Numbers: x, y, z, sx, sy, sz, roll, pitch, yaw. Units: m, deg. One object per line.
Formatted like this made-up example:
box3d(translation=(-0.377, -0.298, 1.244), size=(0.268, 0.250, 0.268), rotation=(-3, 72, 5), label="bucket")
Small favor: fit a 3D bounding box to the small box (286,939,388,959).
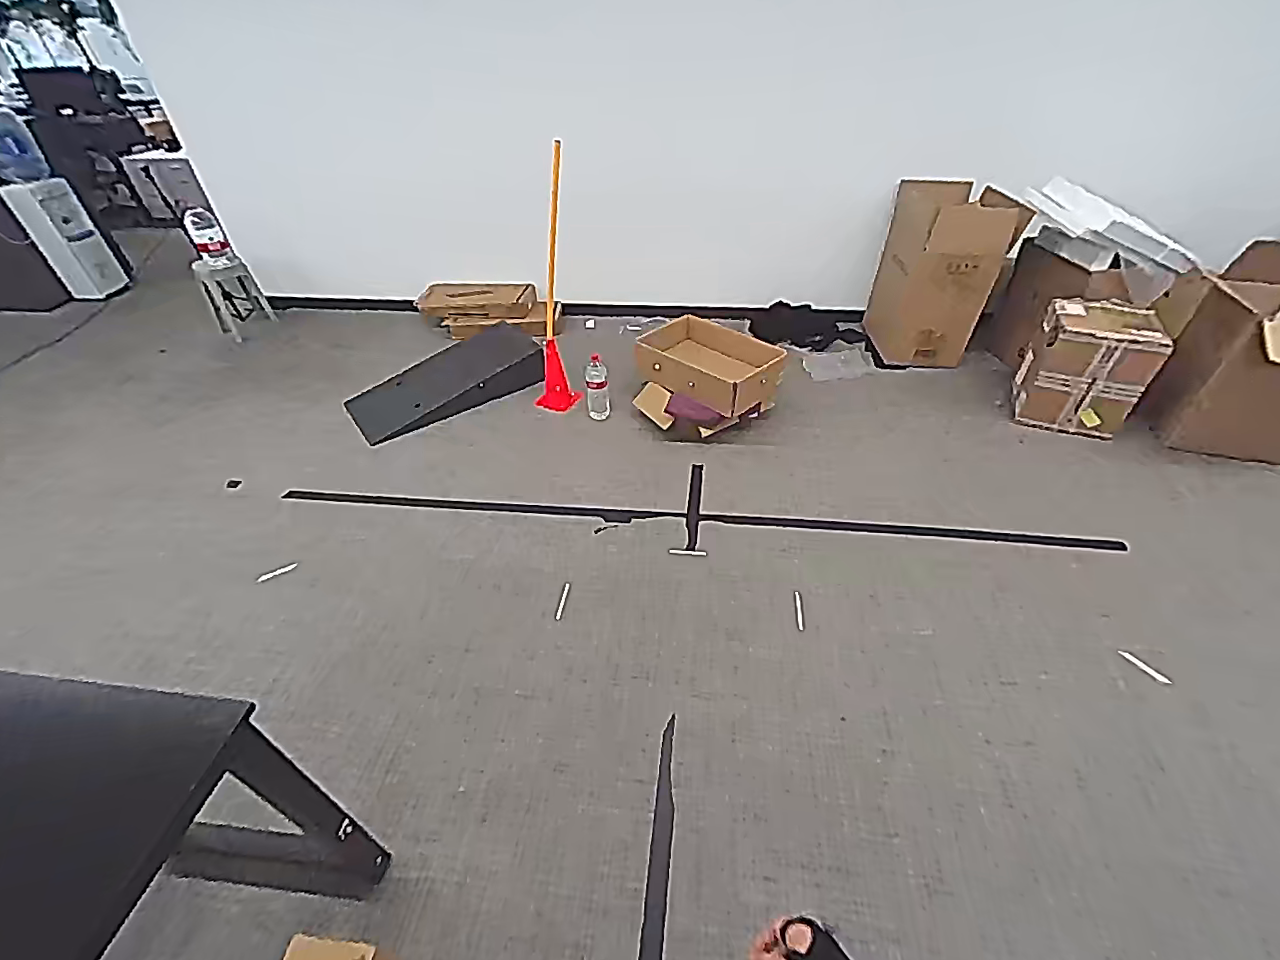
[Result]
box3d(translation=(-0.600, 1.021, 1.043), size=(0.179, 0.176, 0.168), rotation=(2, 41, 6), label="small box")
